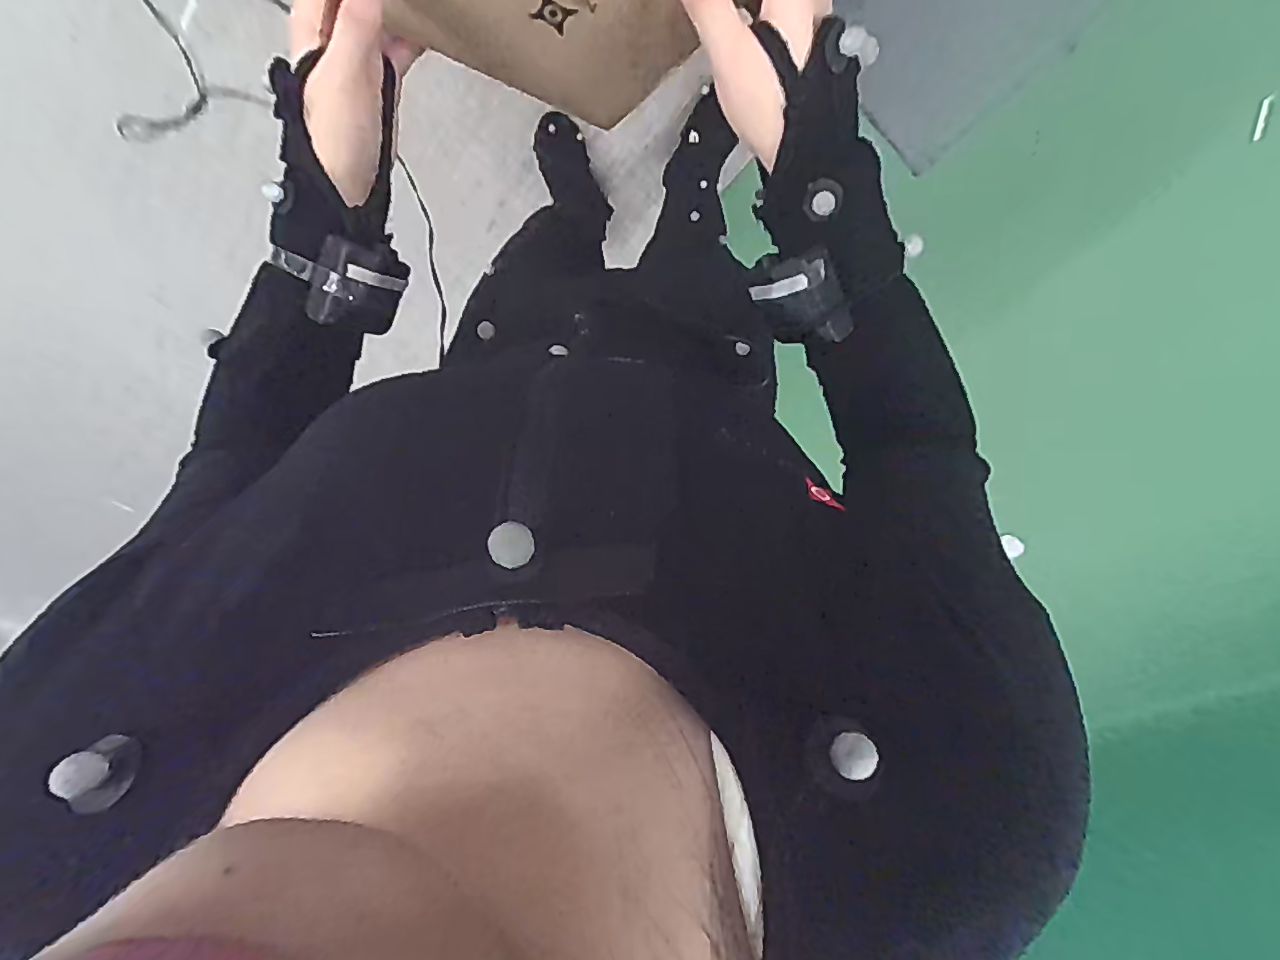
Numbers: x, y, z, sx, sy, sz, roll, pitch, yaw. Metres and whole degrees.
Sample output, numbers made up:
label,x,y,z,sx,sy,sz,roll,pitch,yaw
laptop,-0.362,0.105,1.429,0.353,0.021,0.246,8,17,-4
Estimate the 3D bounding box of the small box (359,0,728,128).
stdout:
label,x,y,z,sx,sy,sz,roll,pitch,yaw
small box,-0.051,-0.351,0.301,0.168,0.176,0.179,2,-178,-34
